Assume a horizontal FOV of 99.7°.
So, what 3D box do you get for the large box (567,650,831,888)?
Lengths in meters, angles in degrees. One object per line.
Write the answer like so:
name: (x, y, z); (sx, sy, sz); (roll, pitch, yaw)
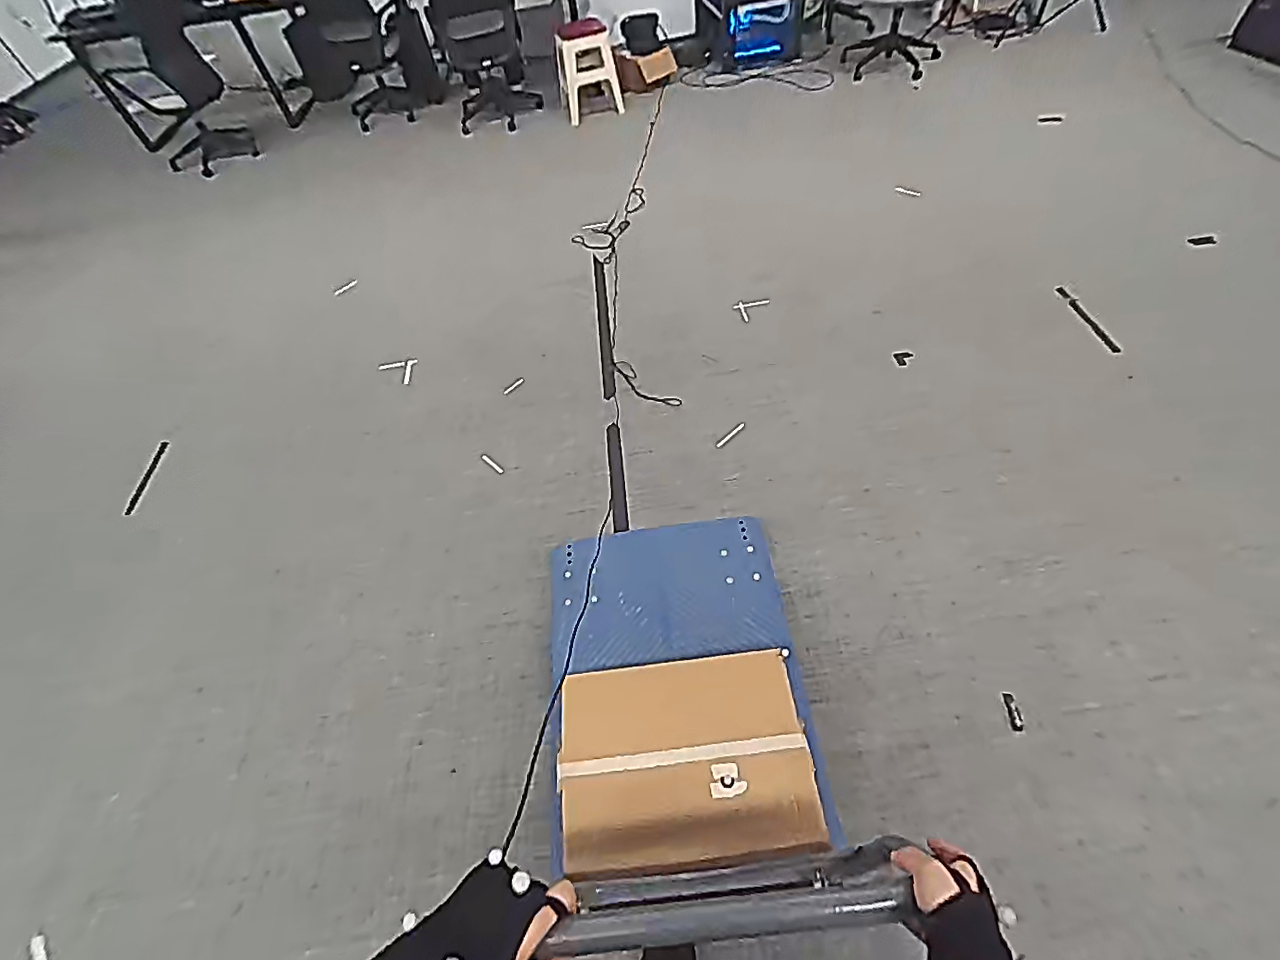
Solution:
large box: (0.090, 0.550, 1.018); (0.408, 0.320, 0.320); (-8, 53, 1)
